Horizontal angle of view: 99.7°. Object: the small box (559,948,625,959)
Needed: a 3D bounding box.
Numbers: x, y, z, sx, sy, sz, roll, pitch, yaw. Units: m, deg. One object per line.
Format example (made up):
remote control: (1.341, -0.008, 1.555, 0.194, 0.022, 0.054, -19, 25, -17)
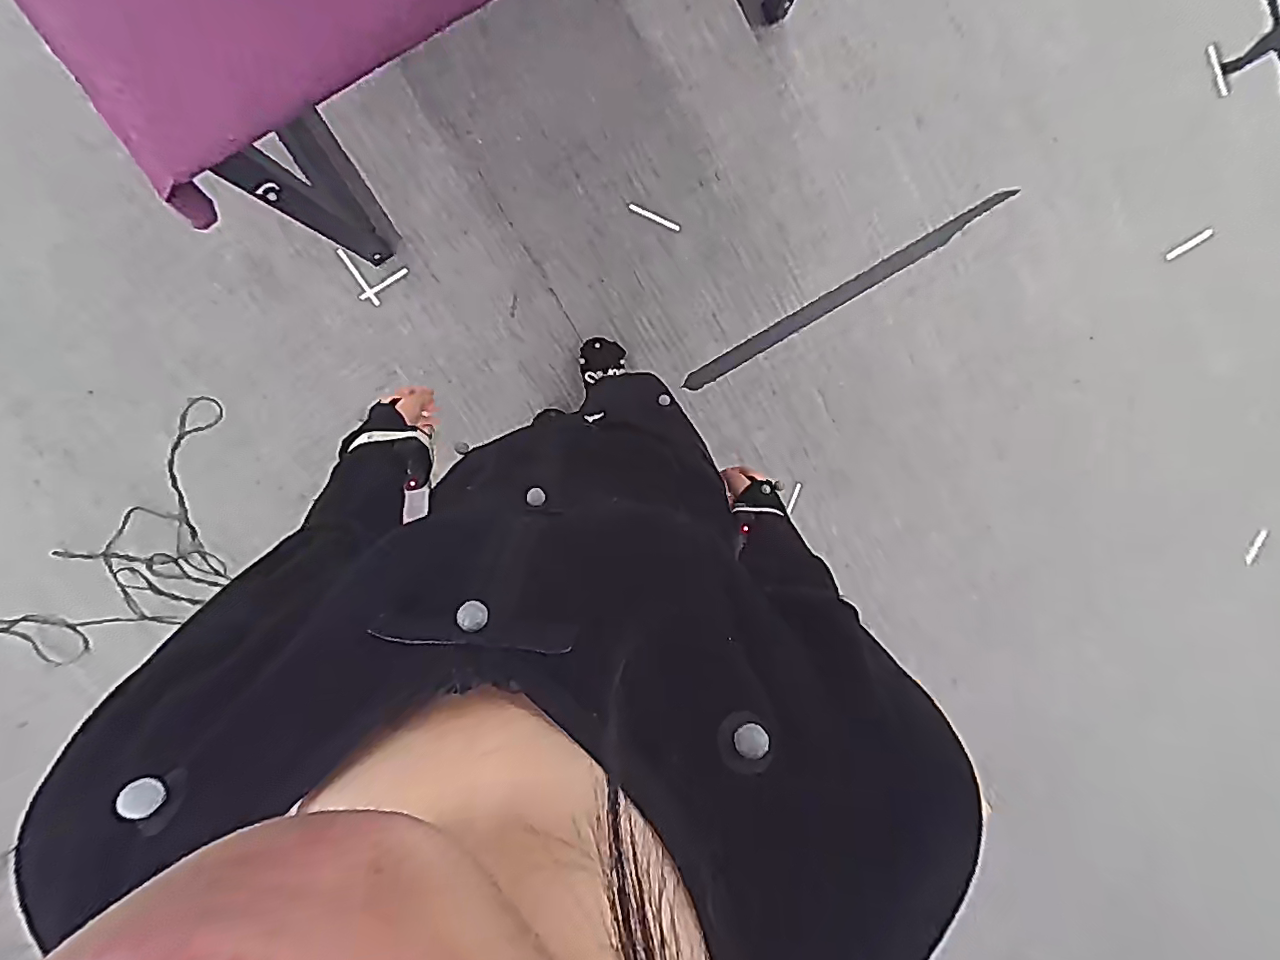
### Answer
small box: (-0.128, 1.304, 1.324, 0.179, 0.176, 0.168, 16, 96, -7)
